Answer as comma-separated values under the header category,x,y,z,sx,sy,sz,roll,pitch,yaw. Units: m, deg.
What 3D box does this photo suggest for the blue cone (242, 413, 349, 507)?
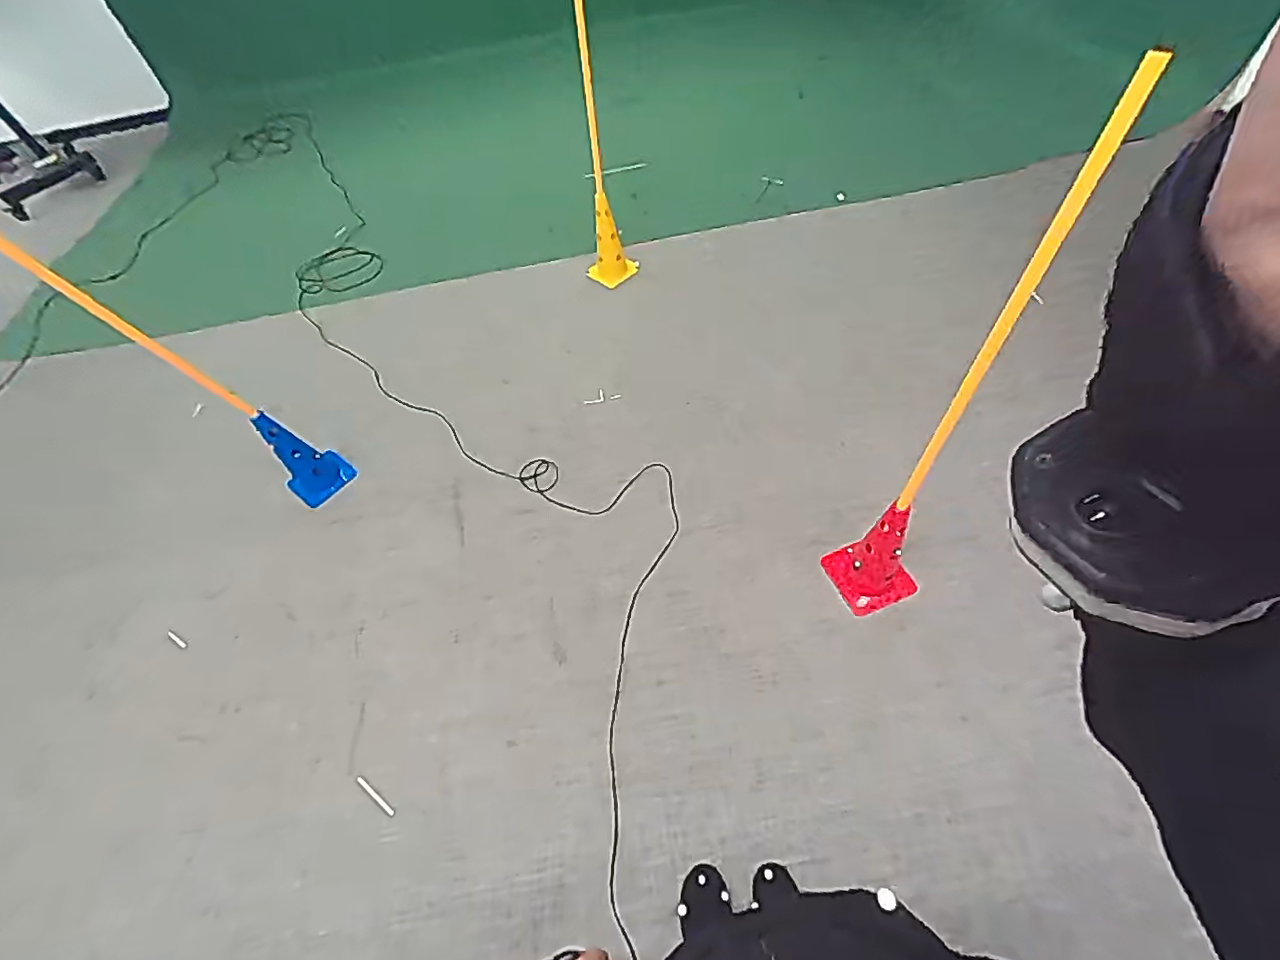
category,x,y,z,sx,sy,sz,roll,pitch,yaw
blue cone,-1.189,-0.090,1.824,0.192,0.380,0.193,29,66,24
